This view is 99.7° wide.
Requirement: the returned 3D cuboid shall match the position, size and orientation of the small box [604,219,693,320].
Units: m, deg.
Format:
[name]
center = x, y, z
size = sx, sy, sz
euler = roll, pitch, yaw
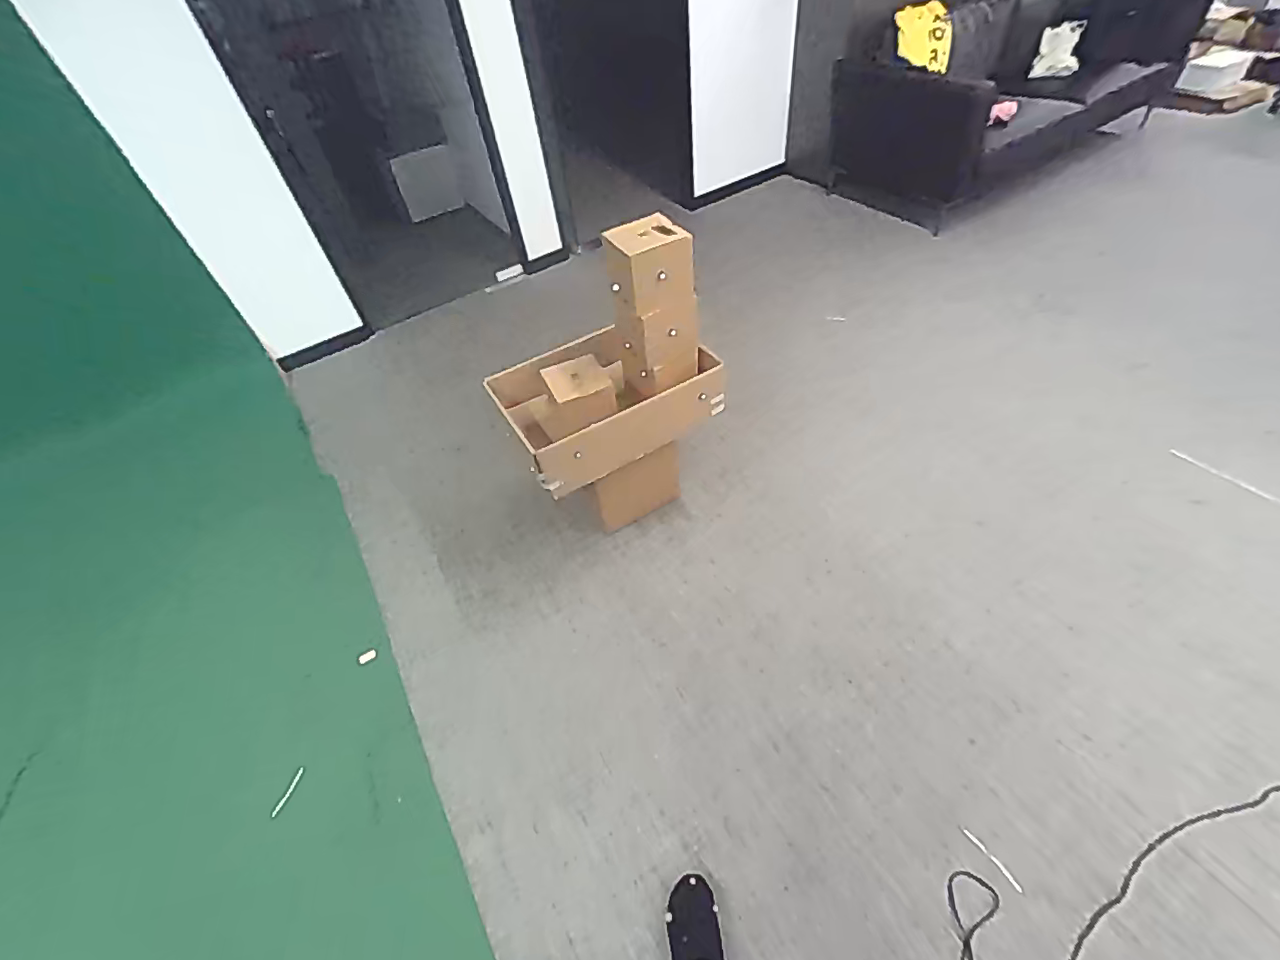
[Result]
[small box]
center = 0.026, -0.548, 1.412
size = 0.179, 0.176, 0.168
euler = -26, 50, -14
